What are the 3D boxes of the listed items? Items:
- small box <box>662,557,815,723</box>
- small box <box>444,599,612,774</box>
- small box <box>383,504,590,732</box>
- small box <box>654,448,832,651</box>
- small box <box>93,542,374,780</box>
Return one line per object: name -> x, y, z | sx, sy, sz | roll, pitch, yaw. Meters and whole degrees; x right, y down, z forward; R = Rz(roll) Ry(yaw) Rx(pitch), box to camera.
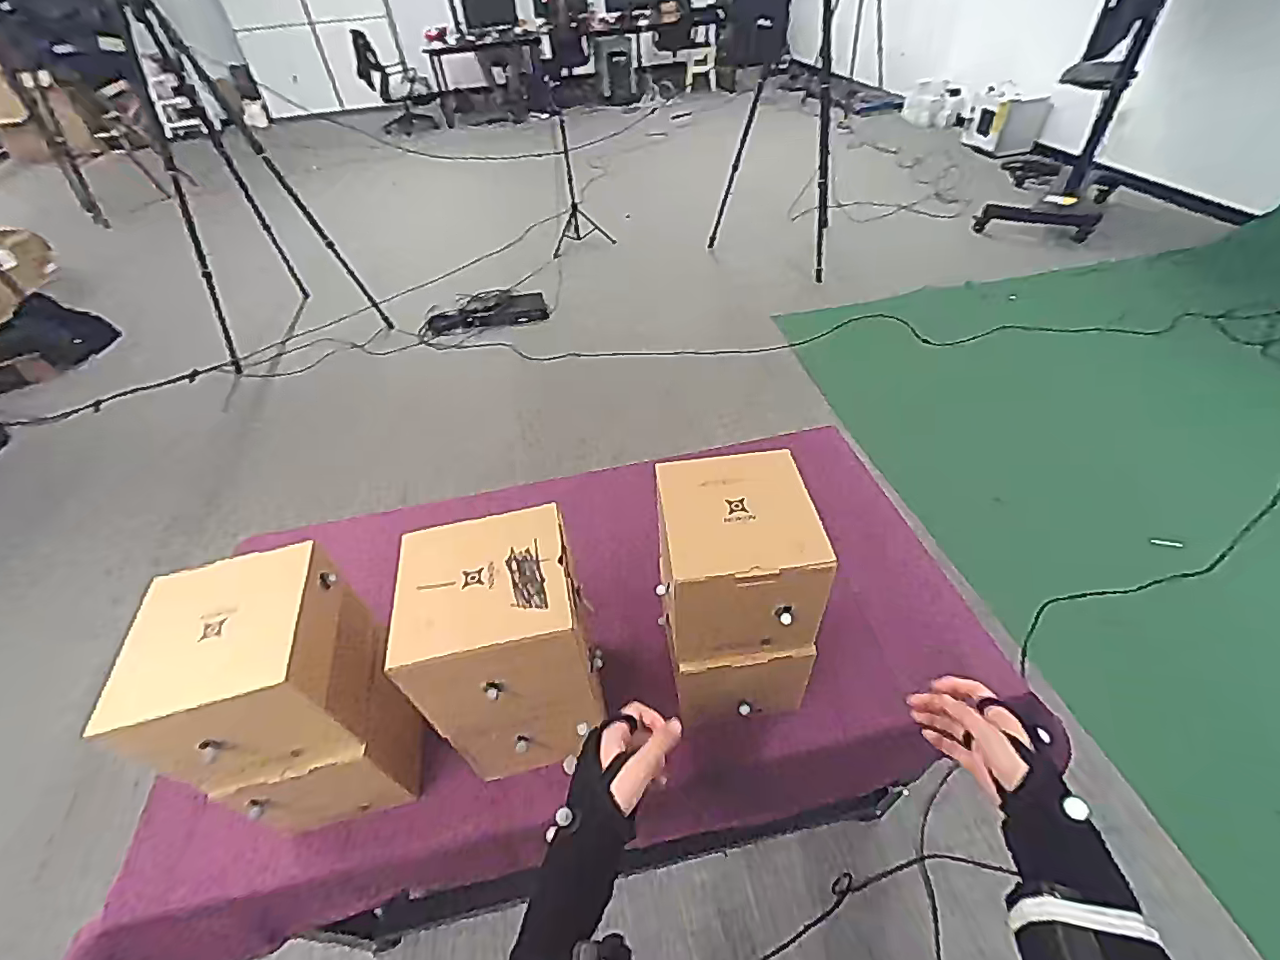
small box -> 0.125, 0.210, 0.751 | 0.168, 0.176, 0.179 | -9, 45, -1
small box -> -0.145, 0.268, 0.725 | 0.179, 0.176, 0.168 | -12, 45, -5
small box -> -0.156, 0.156, 0.605 | 0.179, 0.176, 0.168 | -12, 45, -4
small box -> 0.111, 0.088, 0.643 | 0.168, 0.176, 0.179 | -7, 43, 0
small box -> -0.412, 0.202, 0.591 | 0.168, 0.176, 0.179 | -15, 44, -8
